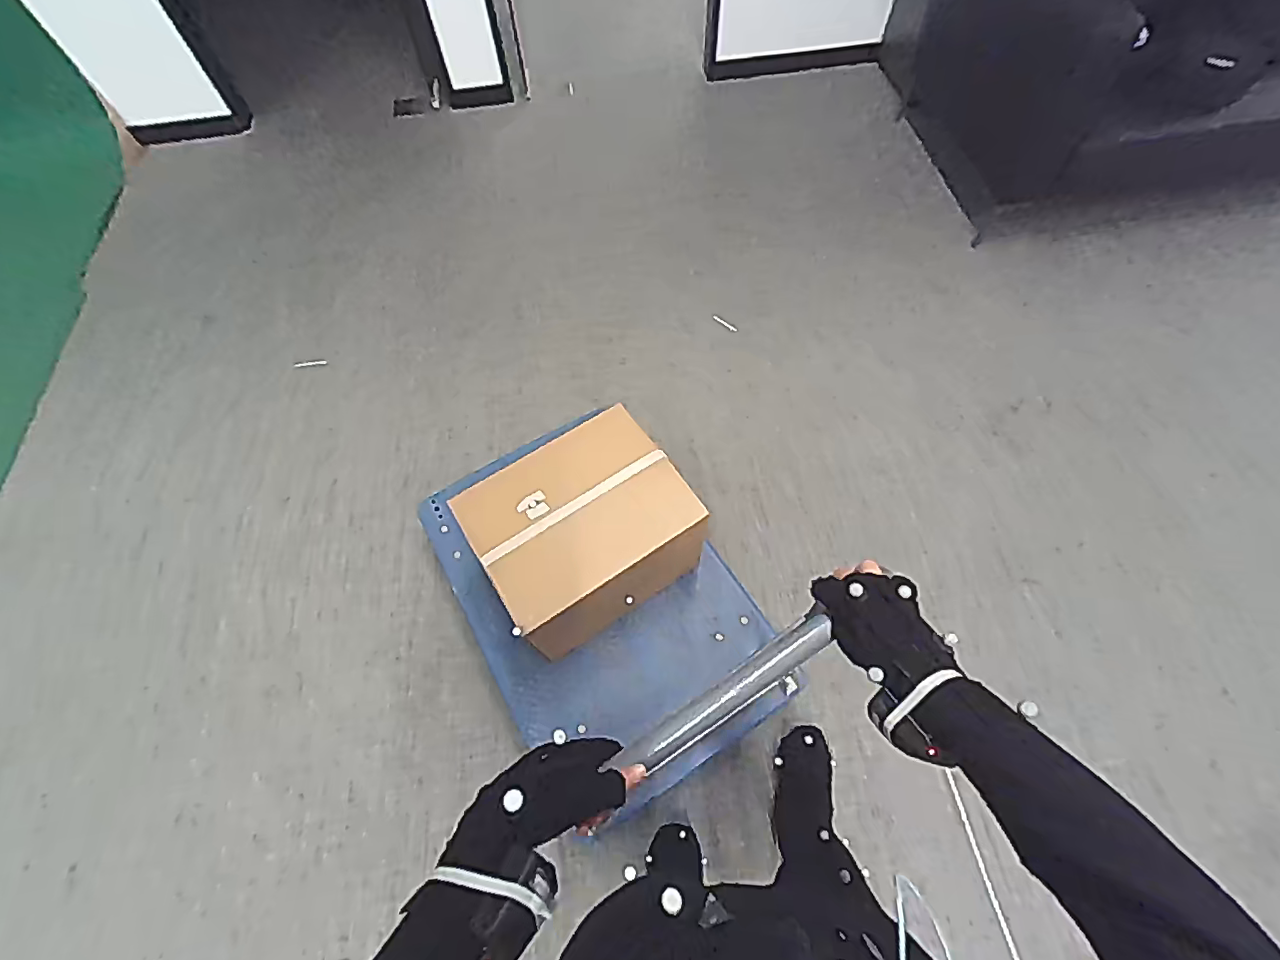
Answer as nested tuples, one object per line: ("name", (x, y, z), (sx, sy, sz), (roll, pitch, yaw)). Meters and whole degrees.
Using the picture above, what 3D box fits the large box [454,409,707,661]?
("large box", (-0.111, 0.127, 1.168), (0.408, 0.320, 0.320), (-32, 66, -14))
